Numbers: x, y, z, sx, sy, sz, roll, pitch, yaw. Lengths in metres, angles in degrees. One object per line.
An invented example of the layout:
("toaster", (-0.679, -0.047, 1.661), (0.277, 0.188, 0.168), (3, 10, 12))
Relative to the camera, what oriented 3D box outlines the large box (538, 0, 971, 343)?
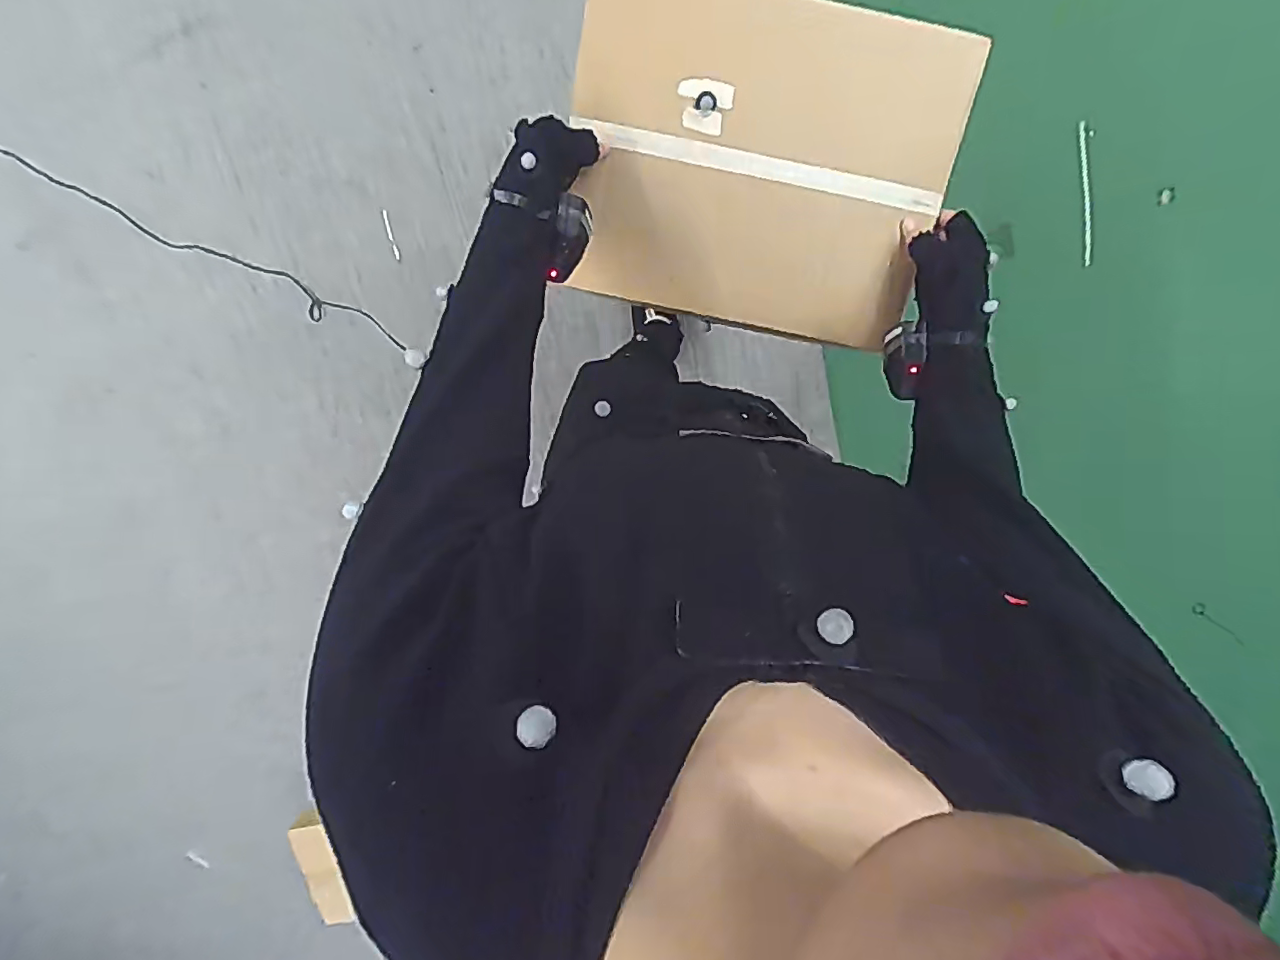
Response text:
("large box", (0.115, -0.380, 0.715), (0.408, 0.320, 0.320), (12, 107, 0))
